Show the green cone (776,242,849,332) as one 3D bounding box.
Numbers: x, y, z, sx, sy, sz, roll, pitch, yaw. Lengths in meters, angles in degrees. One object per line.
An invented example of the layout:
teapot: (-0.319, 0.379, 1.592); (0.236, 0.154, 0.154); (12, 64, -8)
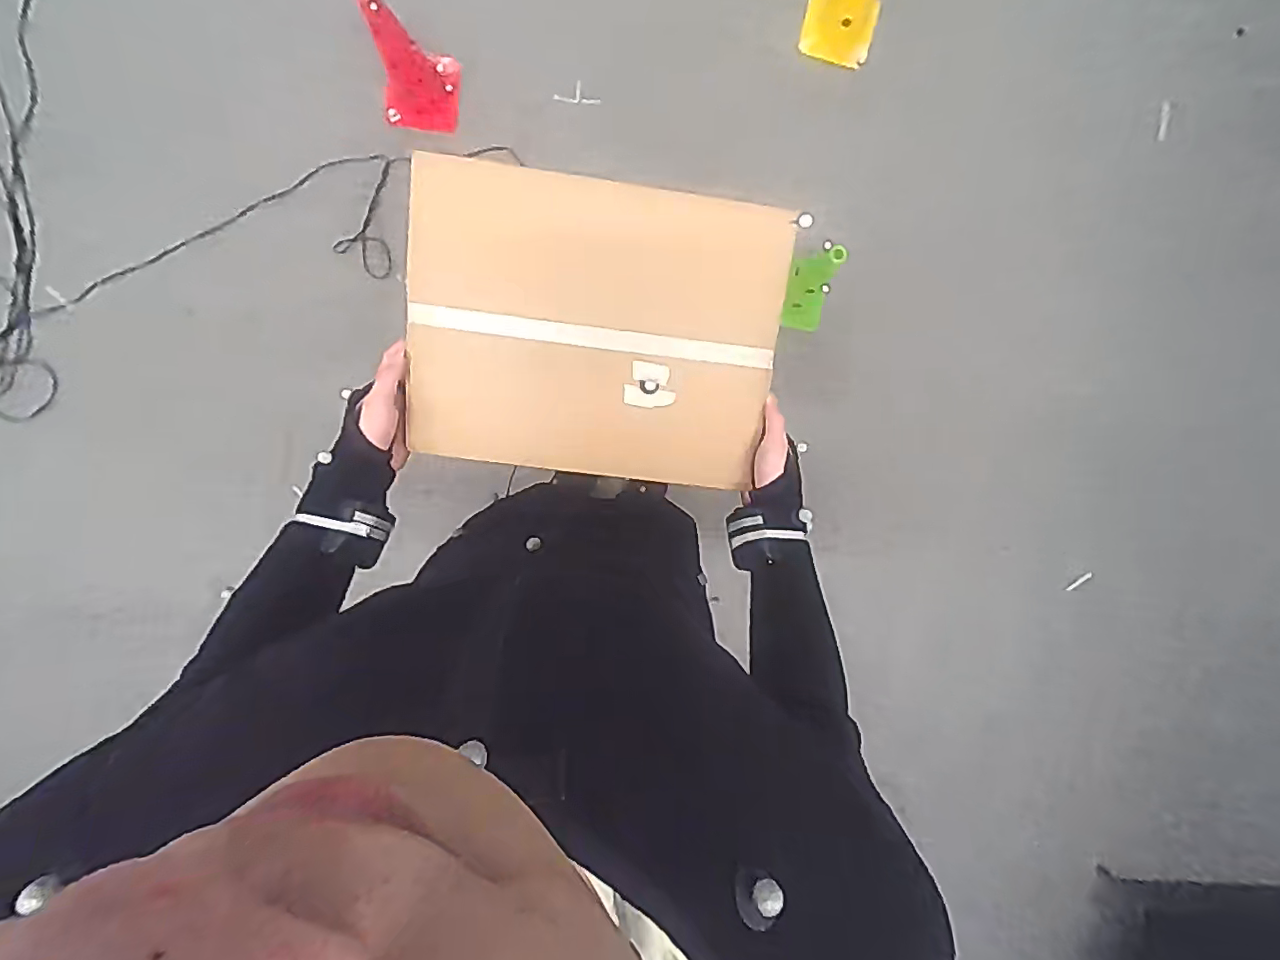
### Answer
green cone: (0.461, -0.541, 1.435); (0.200, 0.368, 0.202); (10, 93, -4)

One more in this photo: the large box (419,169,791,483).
large box: (-0.056, -0.193, 0.752); (0.408, 0.320, 0.320); (5, 104, -5)
